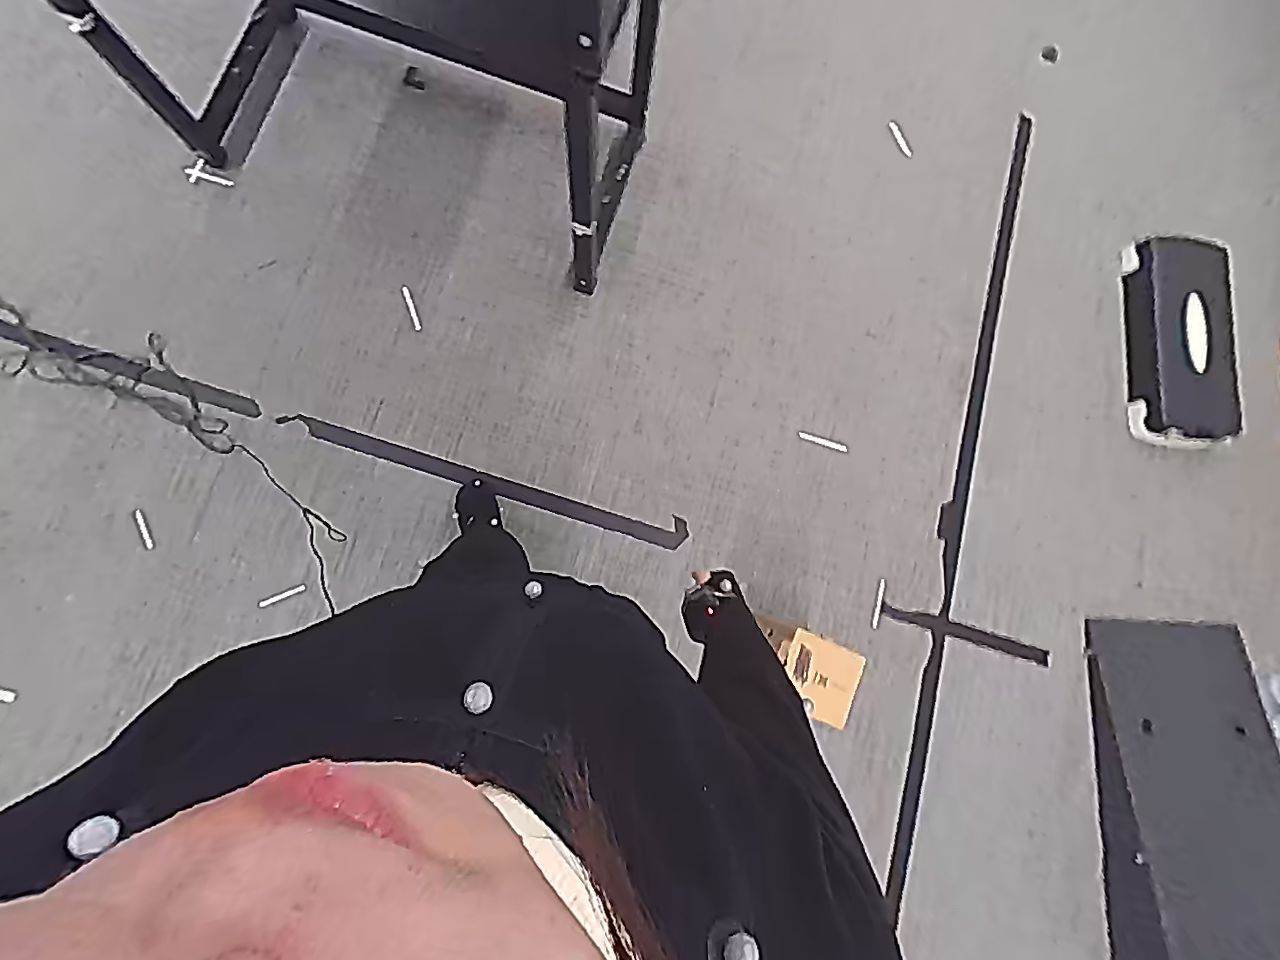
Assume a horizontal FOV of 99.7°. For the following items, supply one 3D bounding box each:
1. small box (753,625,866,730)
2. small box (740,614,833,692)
[{"bbox_3d":[0.386,0.449,1.262,0.179,0.176,0.168,24,81,-2],"label":"small box"},{"bbox_3d":[0.377,0.470,1.425,0.168,0.176,0.179,19,82,-2],"label":"small box"}]
